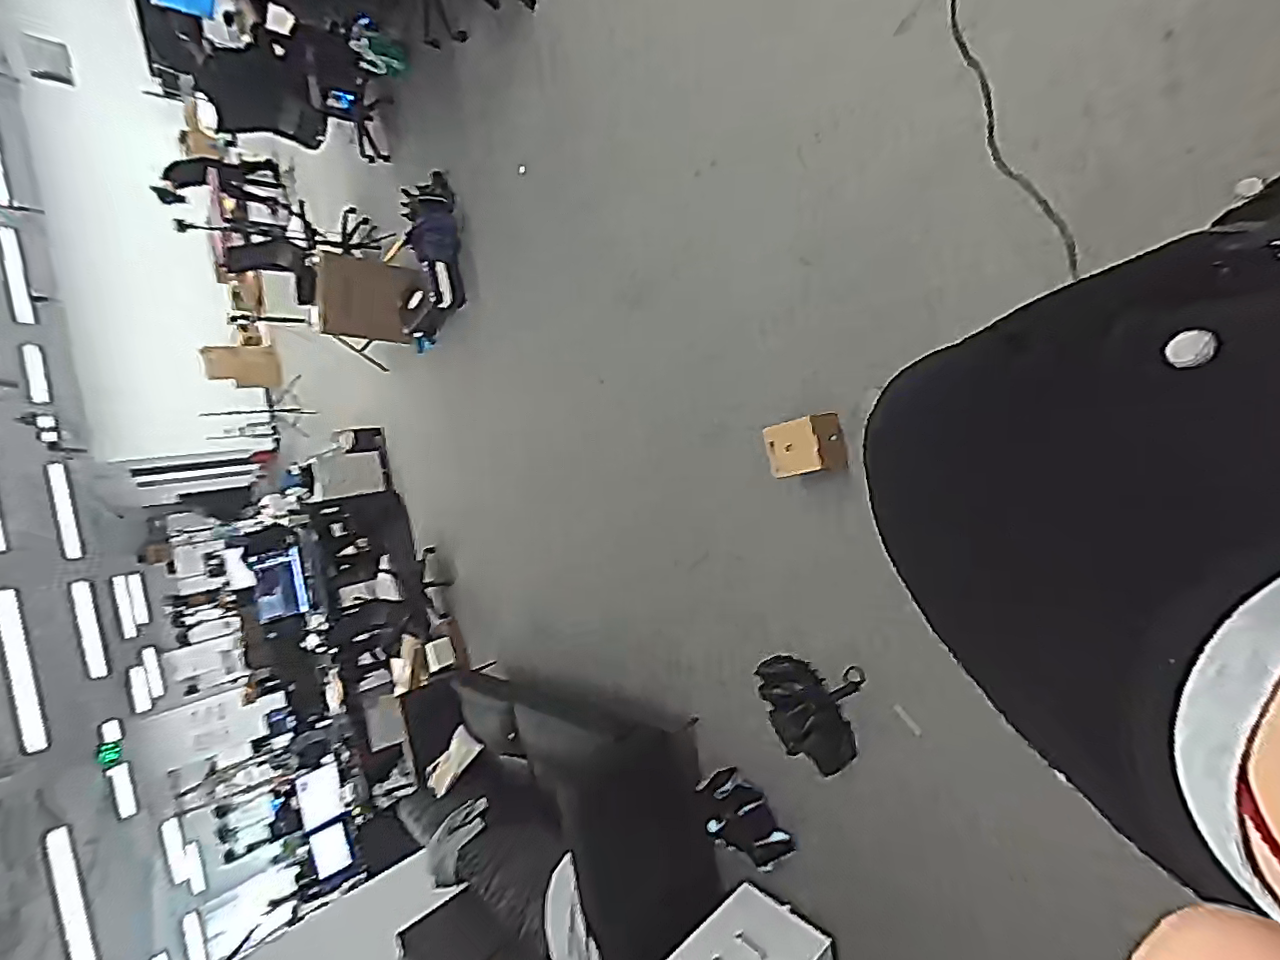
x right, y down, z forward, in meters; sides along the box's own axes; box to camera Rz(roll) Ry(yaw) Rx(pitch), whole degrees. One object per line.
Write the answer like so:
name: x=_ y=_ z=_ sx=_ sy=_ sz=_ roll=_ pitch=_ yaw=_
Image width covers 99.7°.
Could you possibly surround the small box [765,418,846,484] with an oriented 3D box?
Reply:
small box: x=0.534 y=-0.094 z=1.722 sx=0.179 sy=0.176 sz=0.168 roll=-15 pitch=89 yaw=50
